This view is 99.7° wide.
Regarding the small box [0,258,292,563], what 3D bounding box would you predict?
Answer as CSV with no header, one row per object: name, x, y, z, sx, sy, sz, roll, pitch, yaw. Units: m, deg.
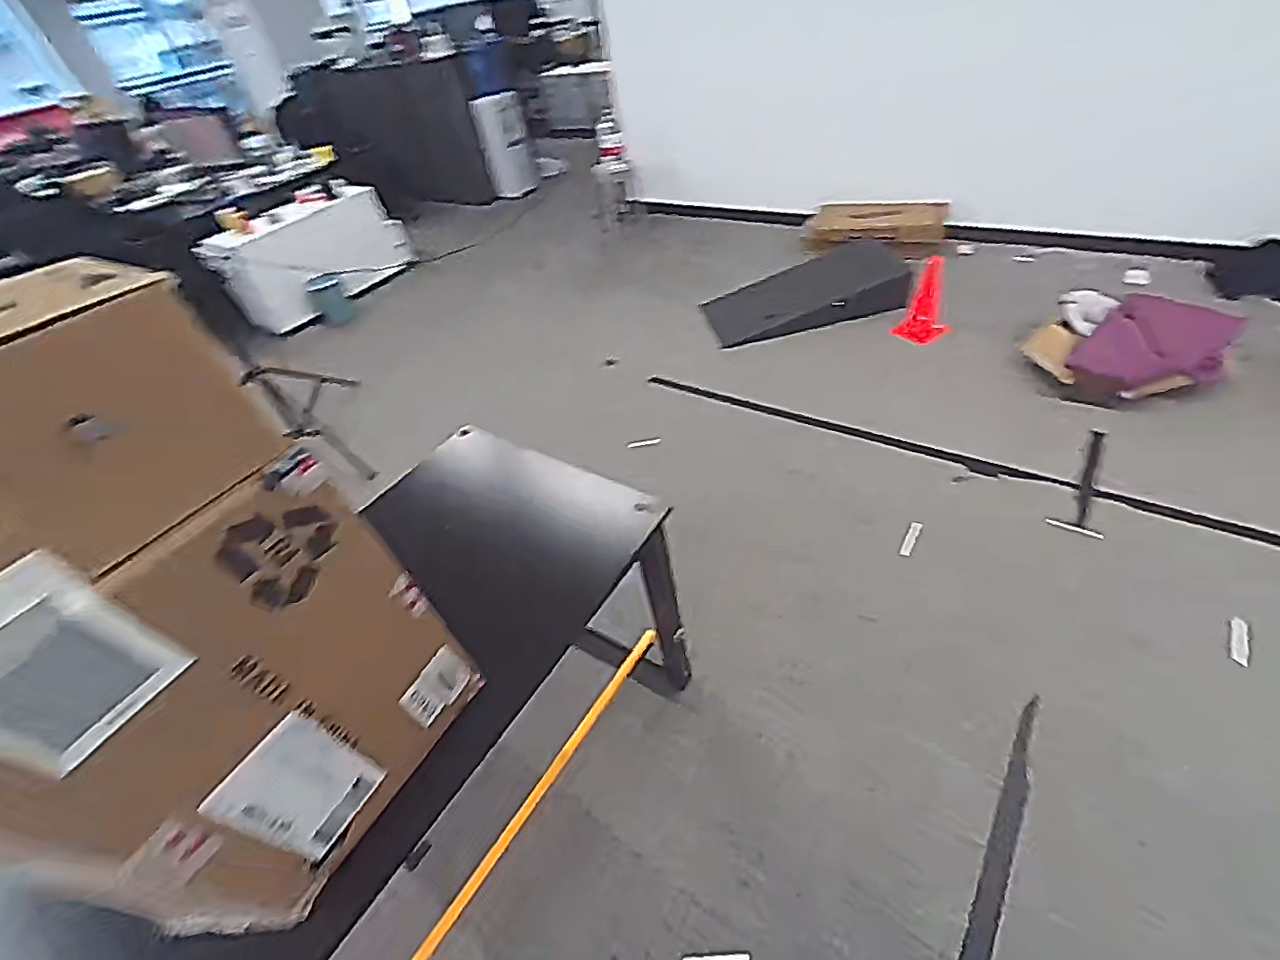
small box,-0.448,-0.061,0.452,0.168,0.176,0.179,19,51,26
